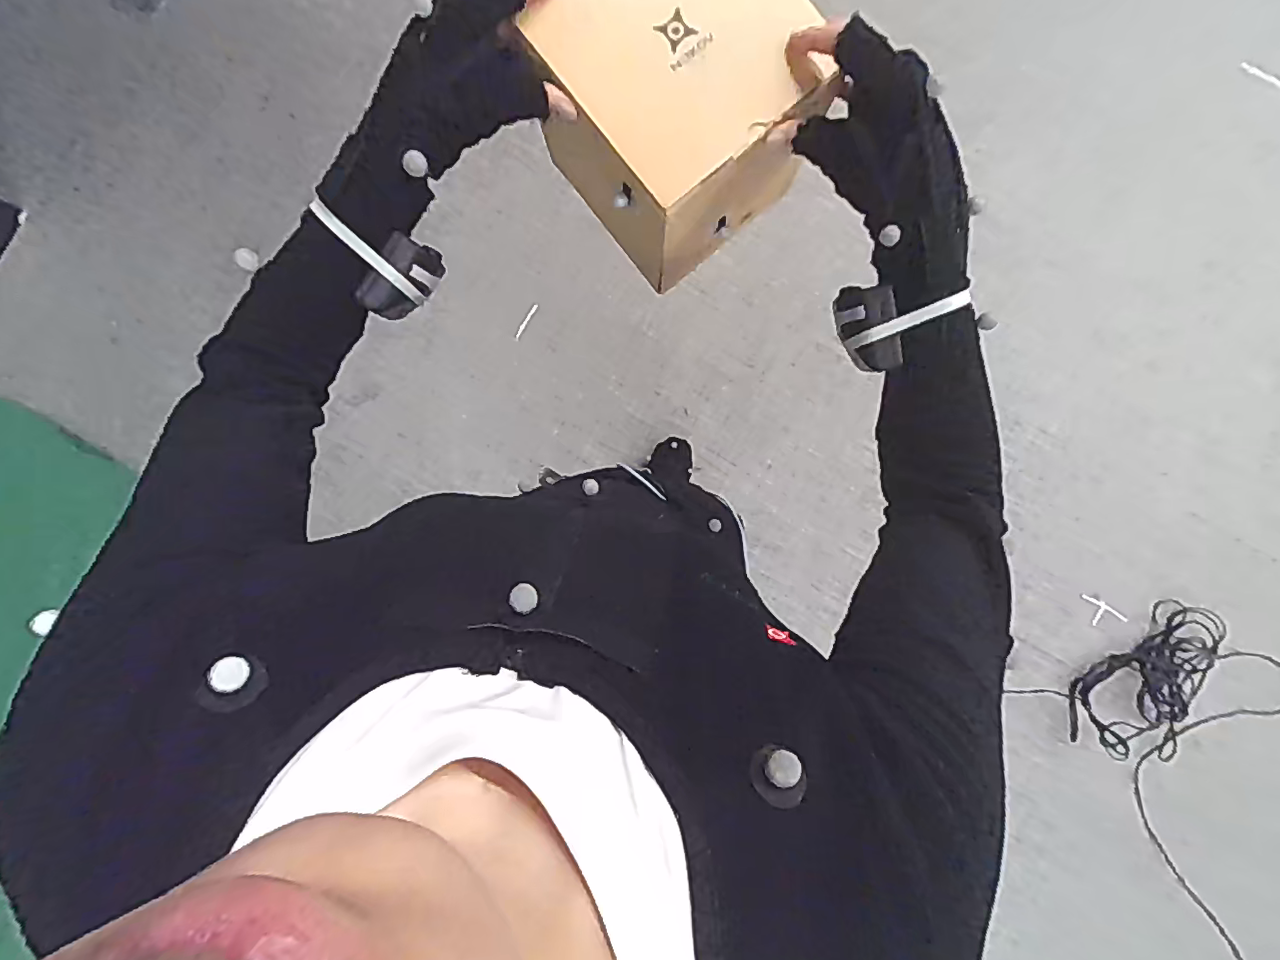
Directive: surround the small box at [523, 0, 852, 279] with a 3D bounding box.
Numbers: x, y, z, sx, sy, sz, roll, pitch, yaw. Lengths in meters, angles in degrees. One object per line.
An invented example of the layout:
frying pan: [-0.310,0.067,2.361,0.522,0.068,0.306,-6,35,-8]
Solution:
small box: [0.032,-0.306,0.453,0.168,0.176,0.179,-38,92,1]
